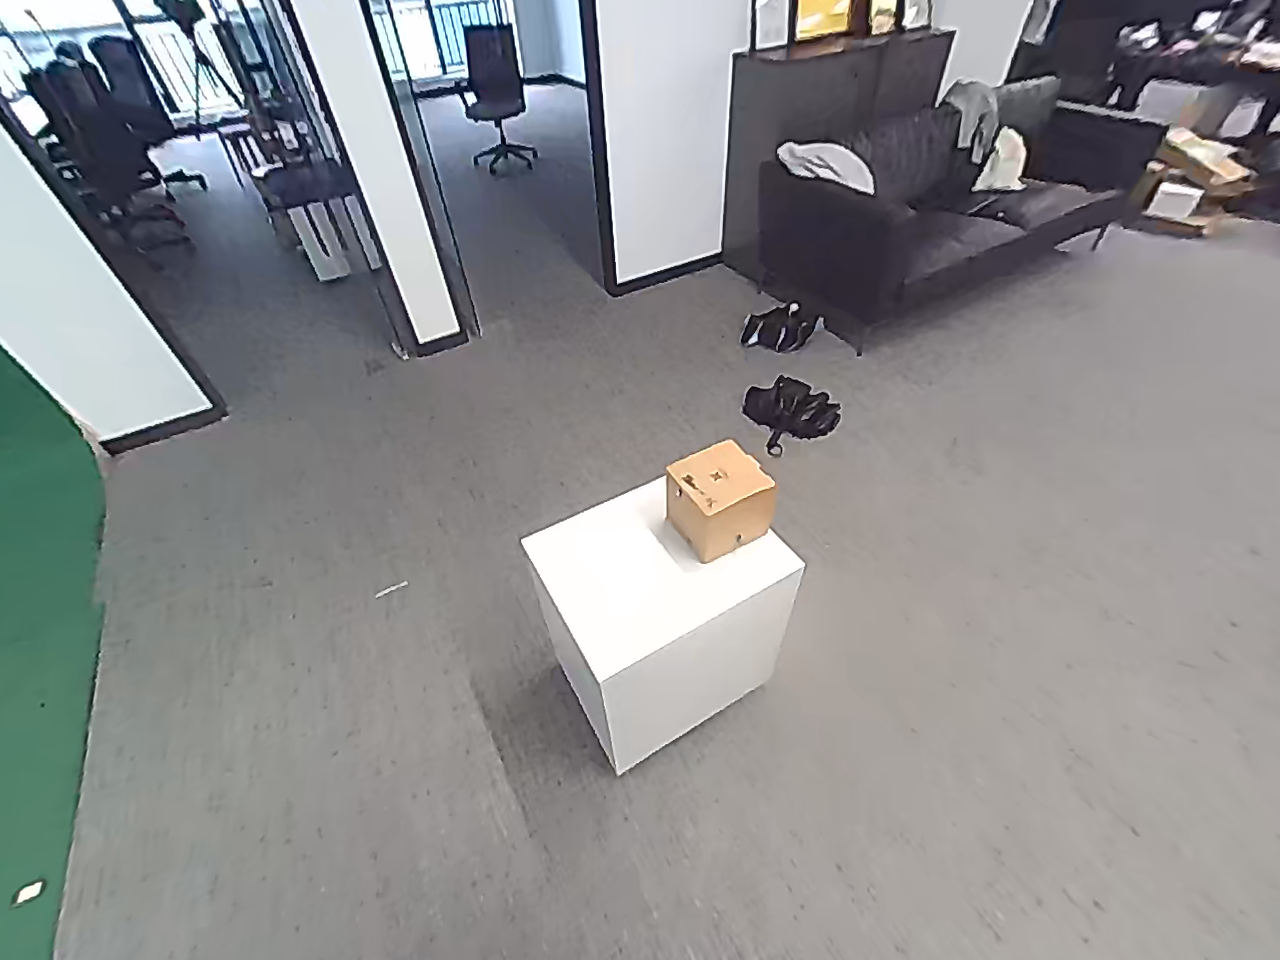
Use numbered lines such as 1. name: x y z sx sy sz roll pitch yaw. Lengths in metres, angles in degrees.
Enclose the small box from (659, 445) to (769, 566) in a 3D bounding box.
1. small box: 0.154 0.057 1.193 0.179 0.176 0.168 -22 48 -21
